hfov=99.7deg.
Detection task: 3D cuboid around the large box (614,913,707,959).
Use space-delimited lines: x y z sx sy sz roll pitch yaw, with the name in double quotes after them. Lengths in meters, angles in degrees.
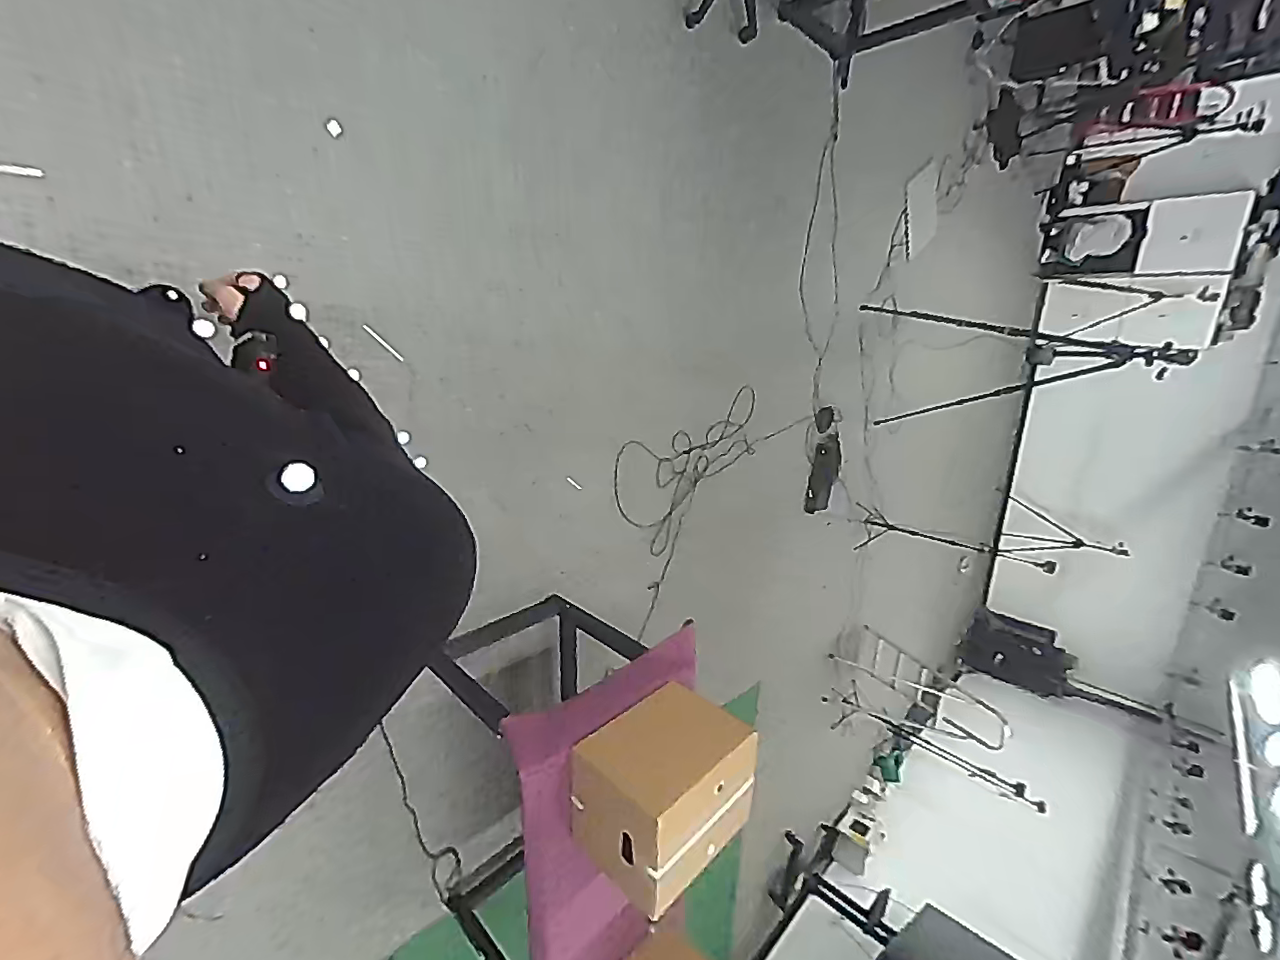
0.034 1.758 1.749 0.408 0.320 0.320 -12 109 -44 "large box"
